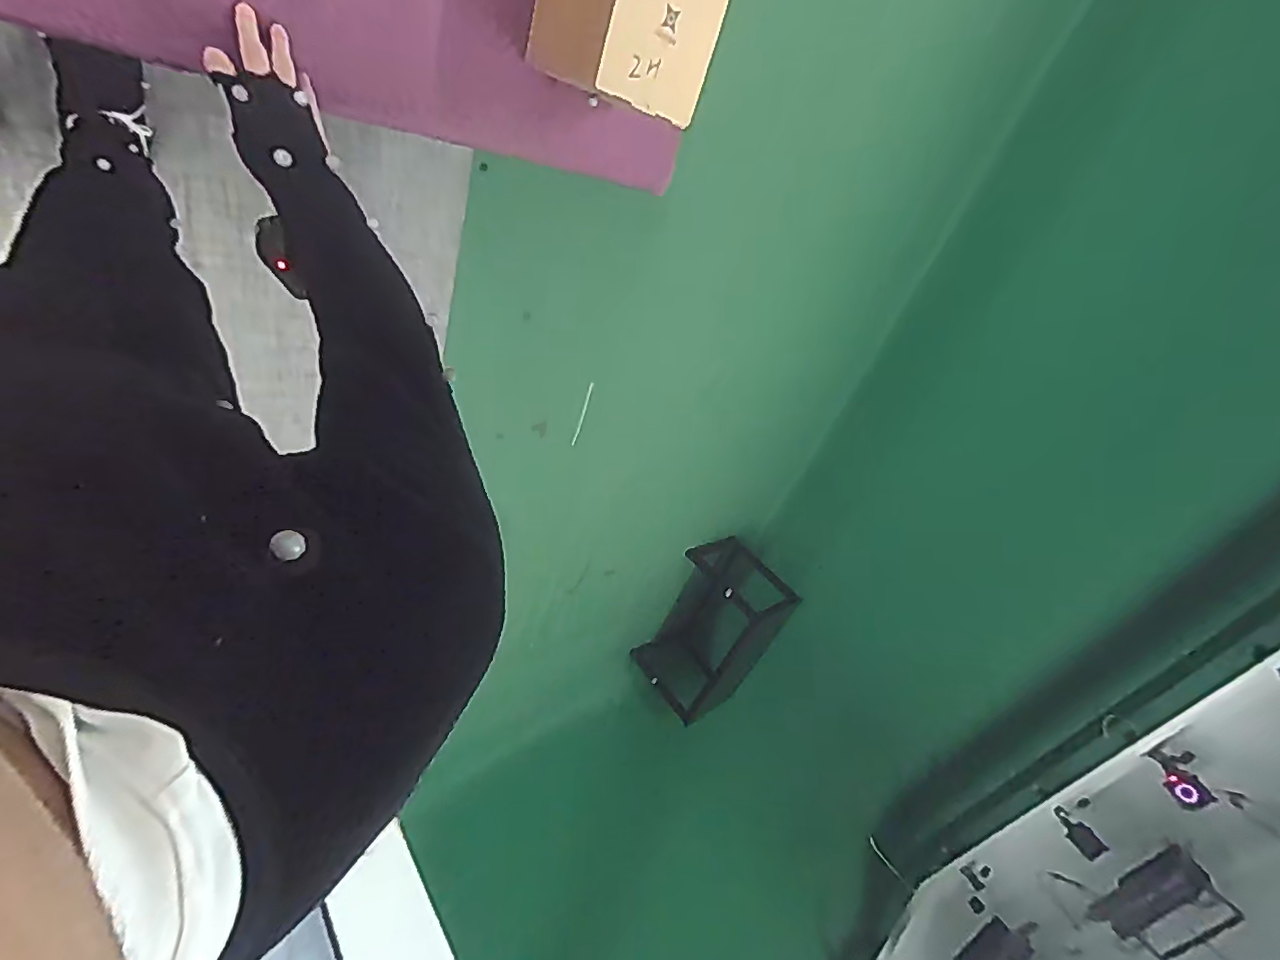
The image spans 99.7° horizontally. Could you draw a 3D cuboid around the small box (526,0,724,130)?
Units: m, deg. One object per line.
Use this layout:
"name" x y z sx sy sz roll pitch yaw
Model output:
"small box" -0.023 -0.585 0.687 0.168 0.176 0.179 -11 134 -43
